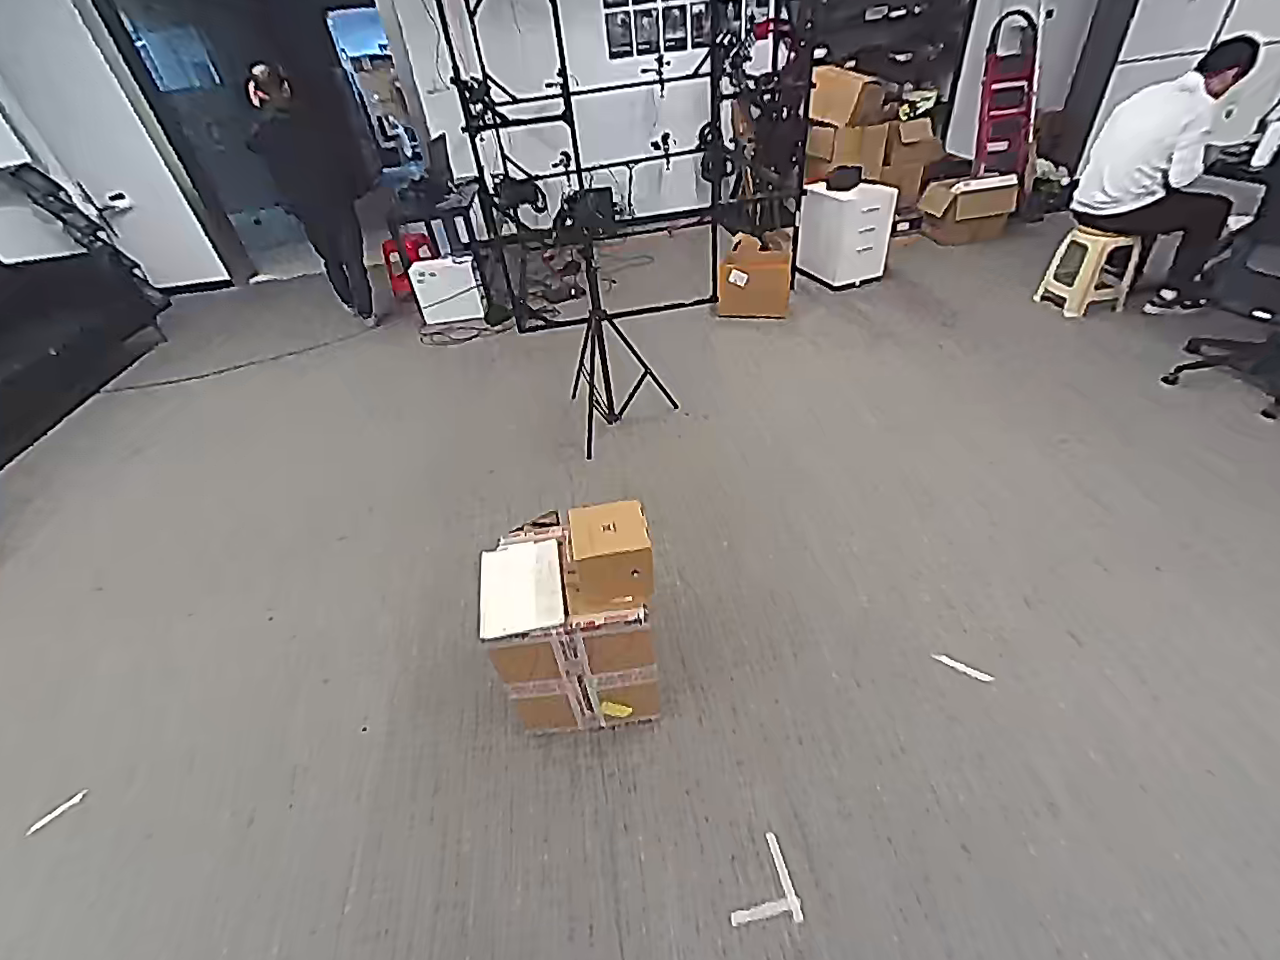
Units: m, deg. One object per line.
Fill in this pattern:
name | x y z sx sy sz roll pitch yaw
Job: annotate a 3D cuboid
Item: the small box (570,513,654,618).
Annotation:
small box | -0.064 0.205 1.296 0.179 0.176 0.168 -10 40 -5
